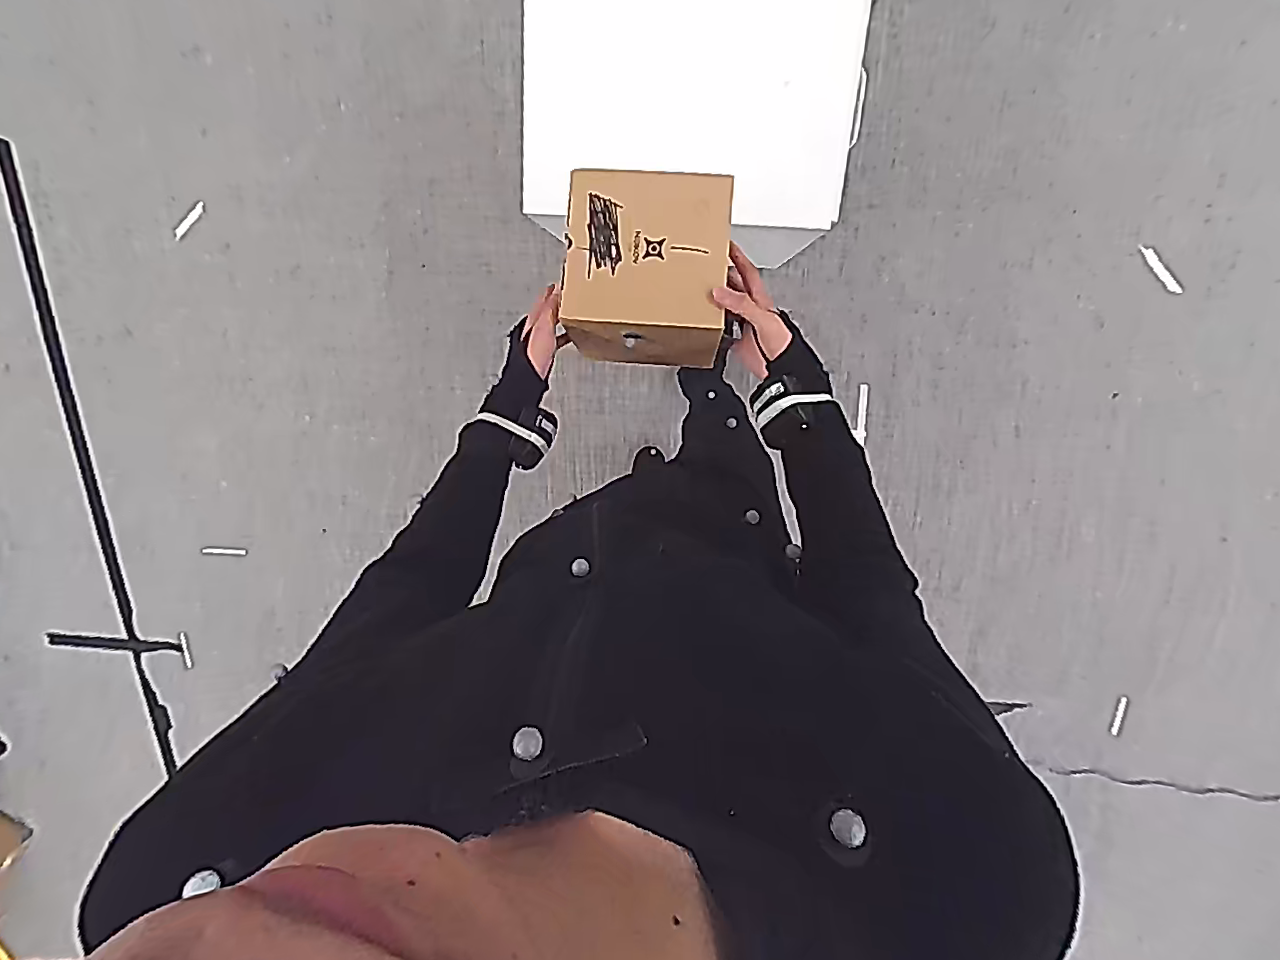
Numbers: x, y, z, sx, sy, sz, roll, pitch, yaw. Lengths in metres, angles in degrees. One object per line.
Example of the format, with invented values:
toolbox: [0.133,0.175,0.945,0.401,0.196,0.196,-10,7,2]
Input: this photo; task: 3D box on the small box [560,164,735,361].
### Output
small box: [0.013,-0.247,0.649,0.179,0.176,0.168,4,88,3]
